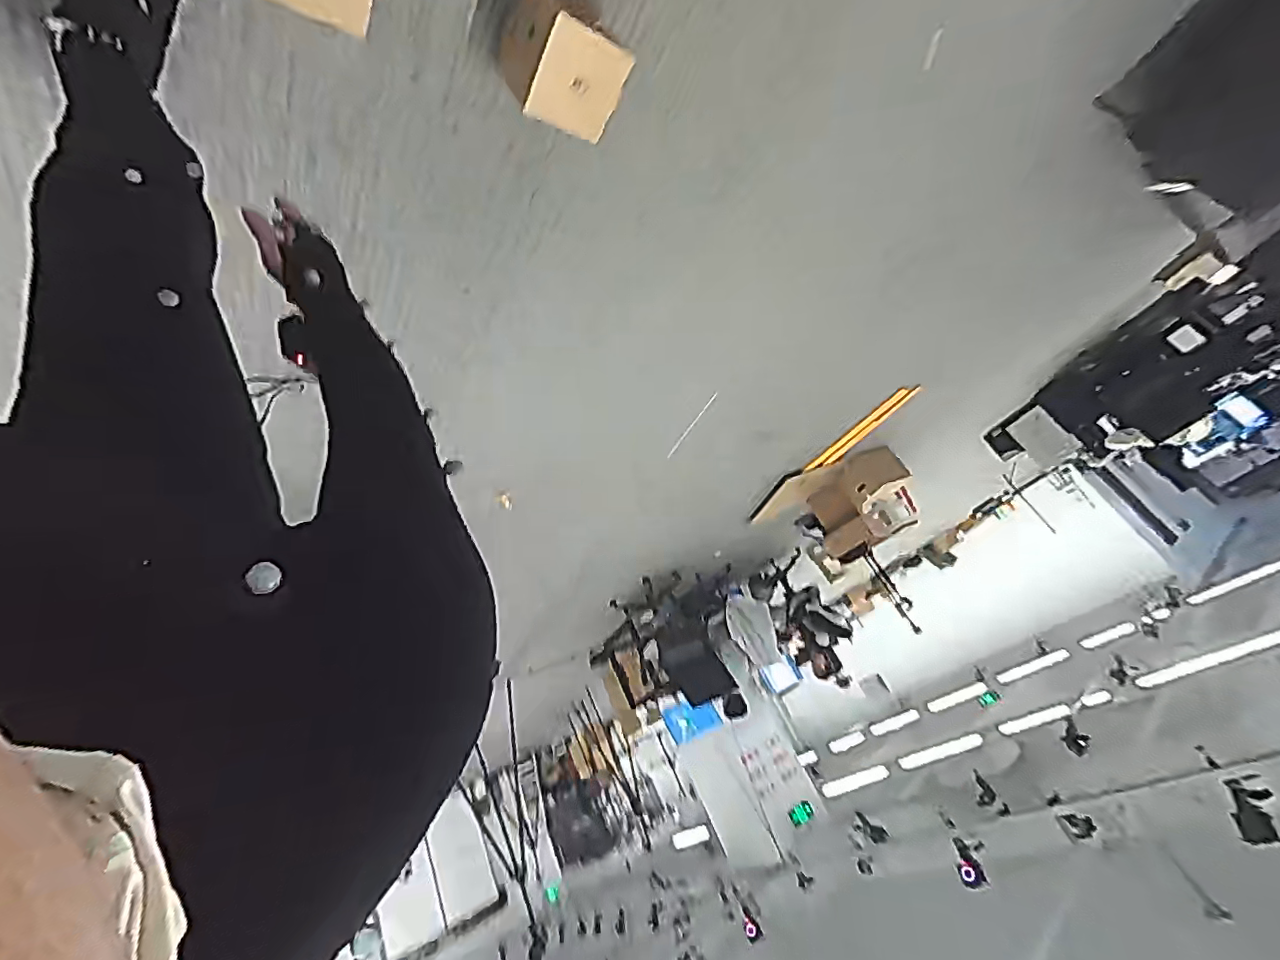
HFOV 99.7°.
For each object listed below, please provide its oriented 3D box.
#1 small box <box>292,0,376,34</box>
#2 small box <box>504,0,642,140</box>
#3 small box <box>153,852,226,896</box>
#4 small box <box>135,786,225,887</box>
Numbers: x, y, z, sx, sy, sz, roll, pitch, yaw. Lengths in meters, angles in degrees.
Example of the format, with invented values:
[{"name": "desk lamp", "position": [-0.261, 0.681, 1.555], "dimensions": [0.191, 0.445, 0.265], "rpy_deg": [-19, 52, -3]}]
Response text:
[{"name": "small box", "position": [-0.458, -0.777, 0.737], "dimensions": [0.168, 0.176, 0.179], "rpy_deg": [-4, 145, -40]}, {"name": "small box", "position": [-0.135, -0.798, 1.027], "dimensions": [0.179, 0.176, 0.168], "rpy_deg": [-5, 146, -41]}, {"name": "small box", "position": [-1.390, 1.133, 1.663], "dimensions": [0.168, 0.176, 0.179], "rpy_deg": [-6, 147, -39]}, {"name": "small box", "position": [-1.273, 0.983, 1.500], "dimensions": [0.179, 0.176, 0.168], "rpy_deg": [-6, 147, -40]}]
